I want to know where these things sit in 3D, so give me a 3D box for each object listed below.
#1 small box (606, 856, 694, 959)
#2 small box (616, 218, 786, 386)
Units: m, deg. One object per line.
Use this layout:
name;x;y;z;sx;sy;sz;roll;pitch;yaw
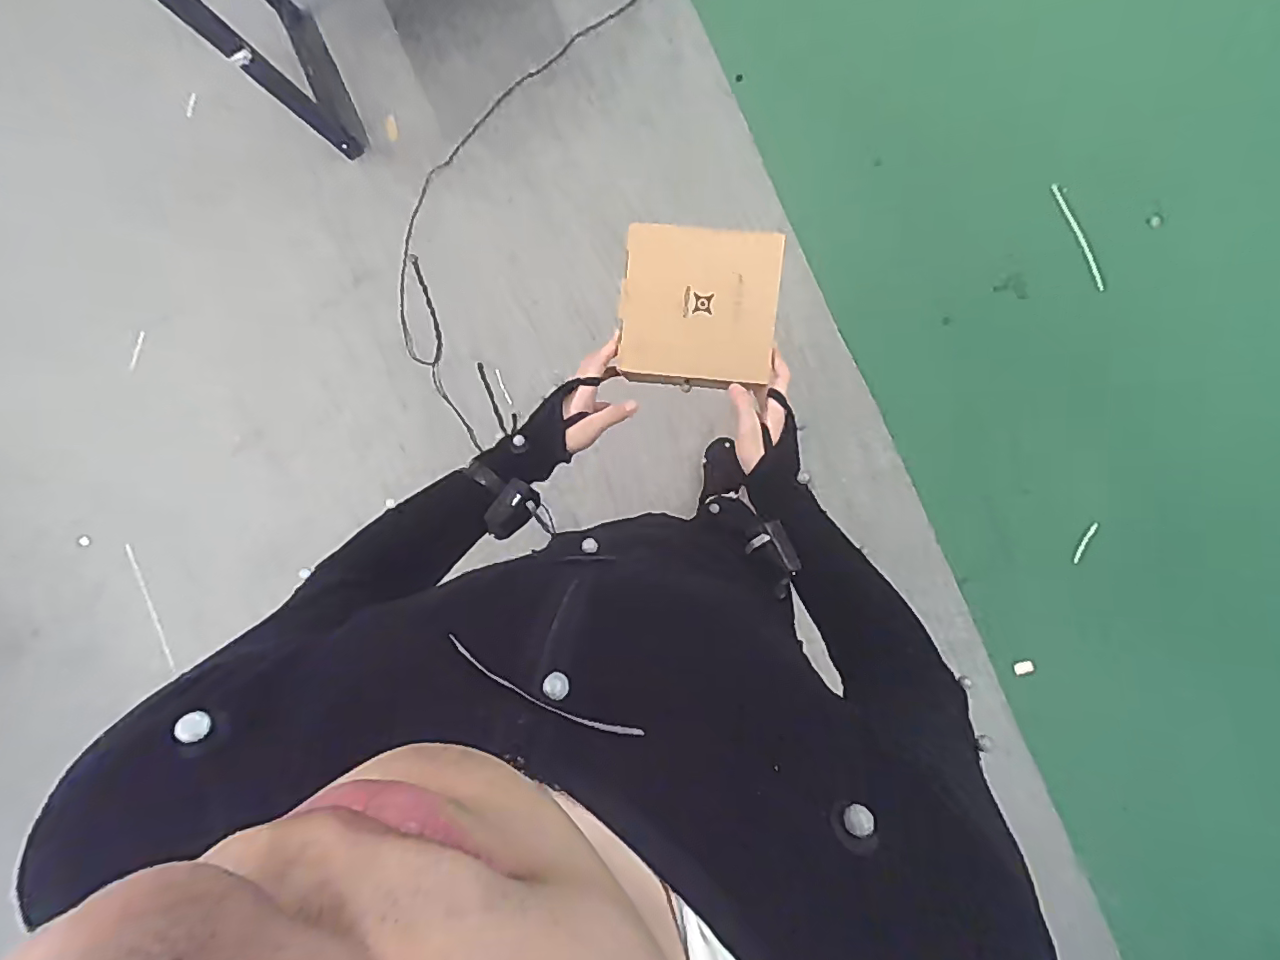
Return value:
small box;0.032;1.120;1.399;0.179;0.176;0.168;-17;87;9
small box;0.072;-0.211;0.684;0.179;0.176;0.168;6;97;3
